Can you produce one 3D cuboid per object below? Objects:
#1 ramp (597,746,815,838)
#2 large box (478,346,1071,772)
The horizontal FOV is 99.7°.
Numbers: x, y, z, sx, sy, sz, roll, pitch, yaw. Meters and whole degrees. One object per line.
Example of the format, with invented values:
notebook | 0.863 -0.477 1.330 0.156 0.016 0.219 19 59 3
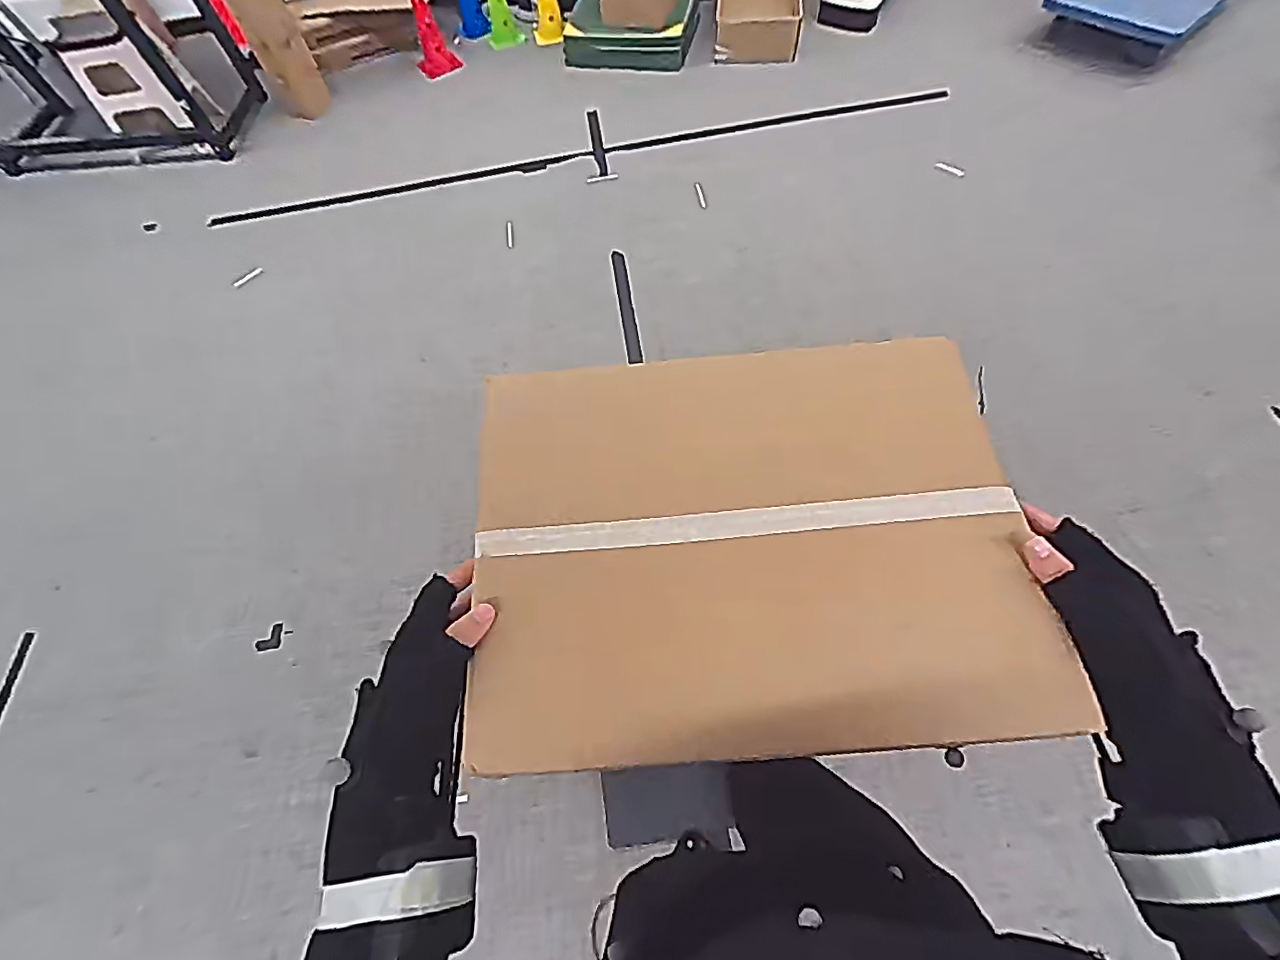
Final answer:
ramp | 0.086 0.301 1.370 0.509 0.206 0.991 -10 63 -3
large box | 0.086 0.098 0.554 0.408 0.320 0.320 -5 64 1
